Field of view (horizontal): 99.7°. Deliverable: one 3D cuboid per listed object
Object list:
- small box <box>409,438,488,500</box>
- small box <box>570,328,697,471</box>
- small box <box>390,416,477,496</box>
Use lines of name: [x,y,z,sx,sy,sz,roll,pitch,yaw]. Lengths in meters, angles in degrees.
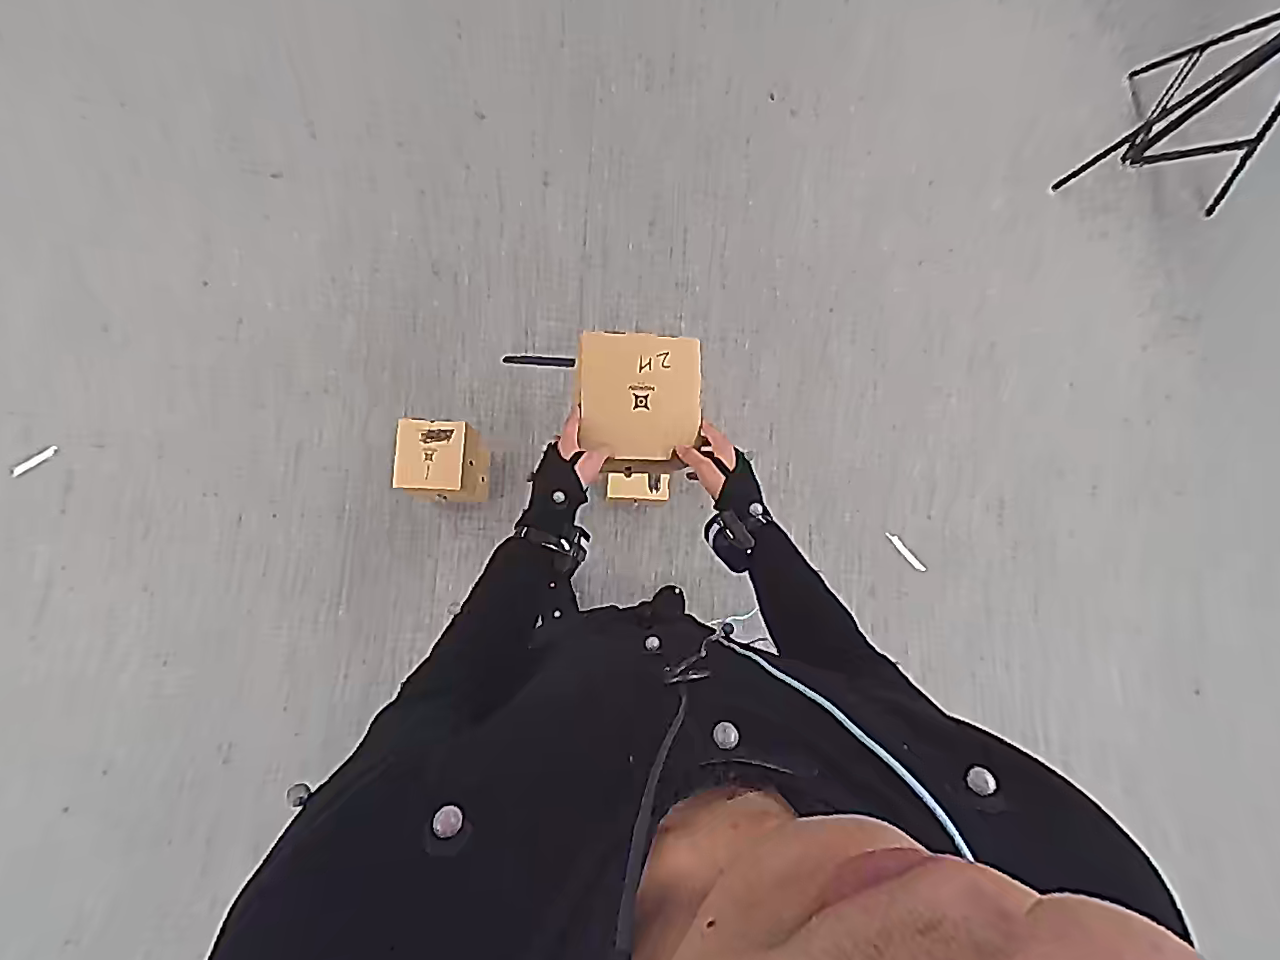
small box: [-0.545,-0.033,1.564,0.179,0.176,0.168,2,82,-4]
small box: [-0.016,-0.108,0.804,0.168,0.176,0.179,1,84,-10]
small box: [-0.527,-0.058,1.403,0.168,0.176,0.179,3,83,-4]
